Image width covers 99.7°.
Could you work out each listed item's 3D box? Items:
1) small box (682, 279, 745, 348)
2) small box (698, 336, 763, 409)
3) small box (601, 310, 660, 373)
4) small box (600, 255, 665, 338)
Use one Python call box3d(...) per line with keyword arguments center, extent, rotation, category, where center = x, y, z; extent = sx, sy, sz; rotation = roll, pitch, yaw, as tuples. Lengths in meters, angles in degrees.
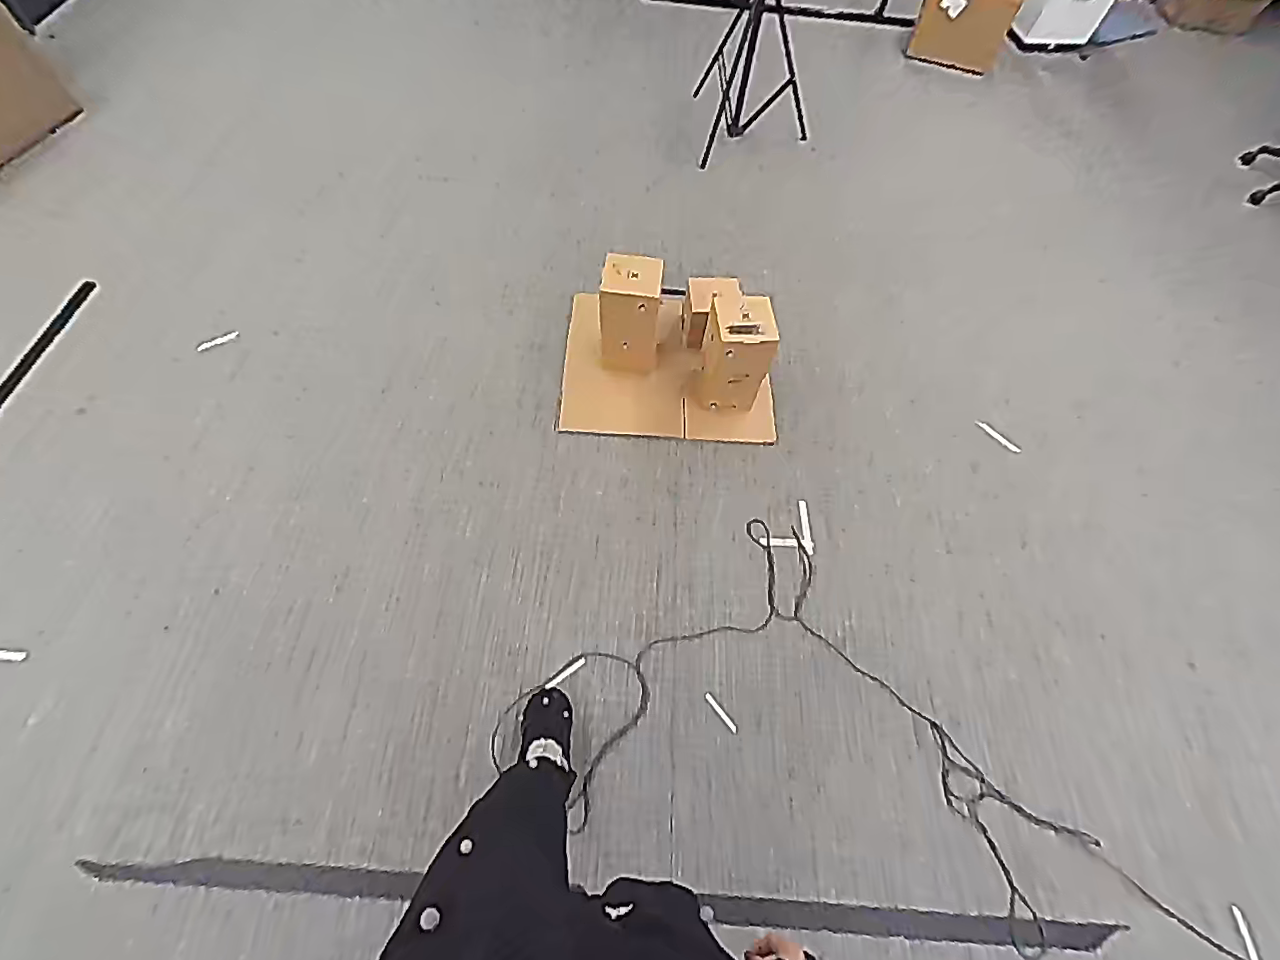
box3d(center=(0.248, -0.568, 1.859), extent=(0.179, 0.176, 0.168), rotation=(-1, 60, -4), category="small box")
box3d(center=(0.283, -0.341, 1.734), extent=(0.168, 0.176, 0.179), rotation=(-1, 61, -5), category="small box")
box3d(center=(-0.032, -0.471, 1.783), extent=(0.179, 0.176, 0.168), rotation=(5, 61, 0), category="small box")
box3d(center=(-0.024, -0.552, 1.639), extent=(0.179, 0.176, 0.168), rotation=(6, 61, 1), category="small box")
